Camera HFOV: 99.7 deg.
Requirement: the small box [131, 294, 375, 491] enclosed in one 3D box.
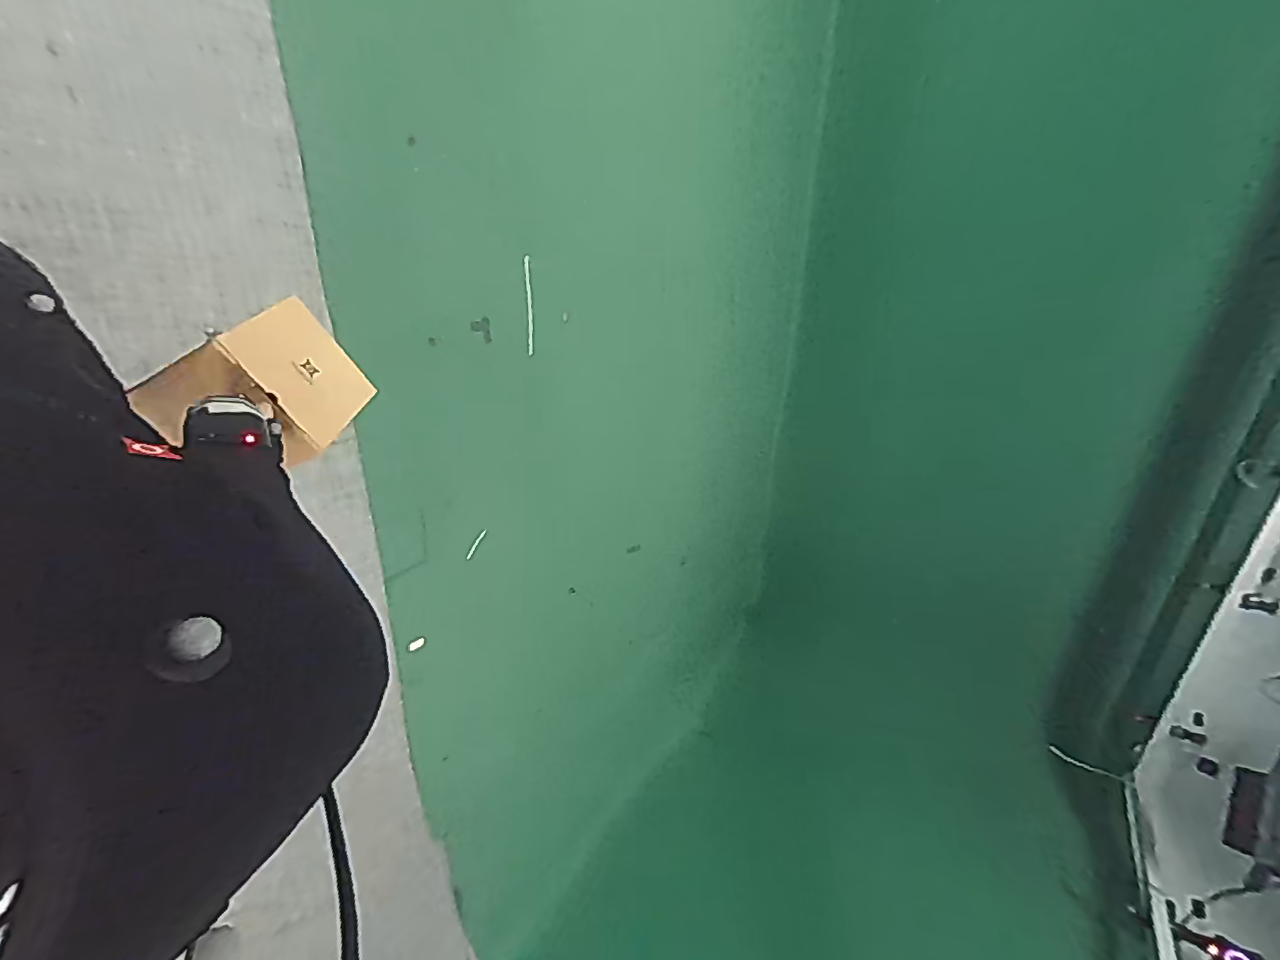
[{"bbox_3d":[-0.505,-0.117,0.725,0.168,0.176,0.179,58,17,-31],"label":"small box"}]
